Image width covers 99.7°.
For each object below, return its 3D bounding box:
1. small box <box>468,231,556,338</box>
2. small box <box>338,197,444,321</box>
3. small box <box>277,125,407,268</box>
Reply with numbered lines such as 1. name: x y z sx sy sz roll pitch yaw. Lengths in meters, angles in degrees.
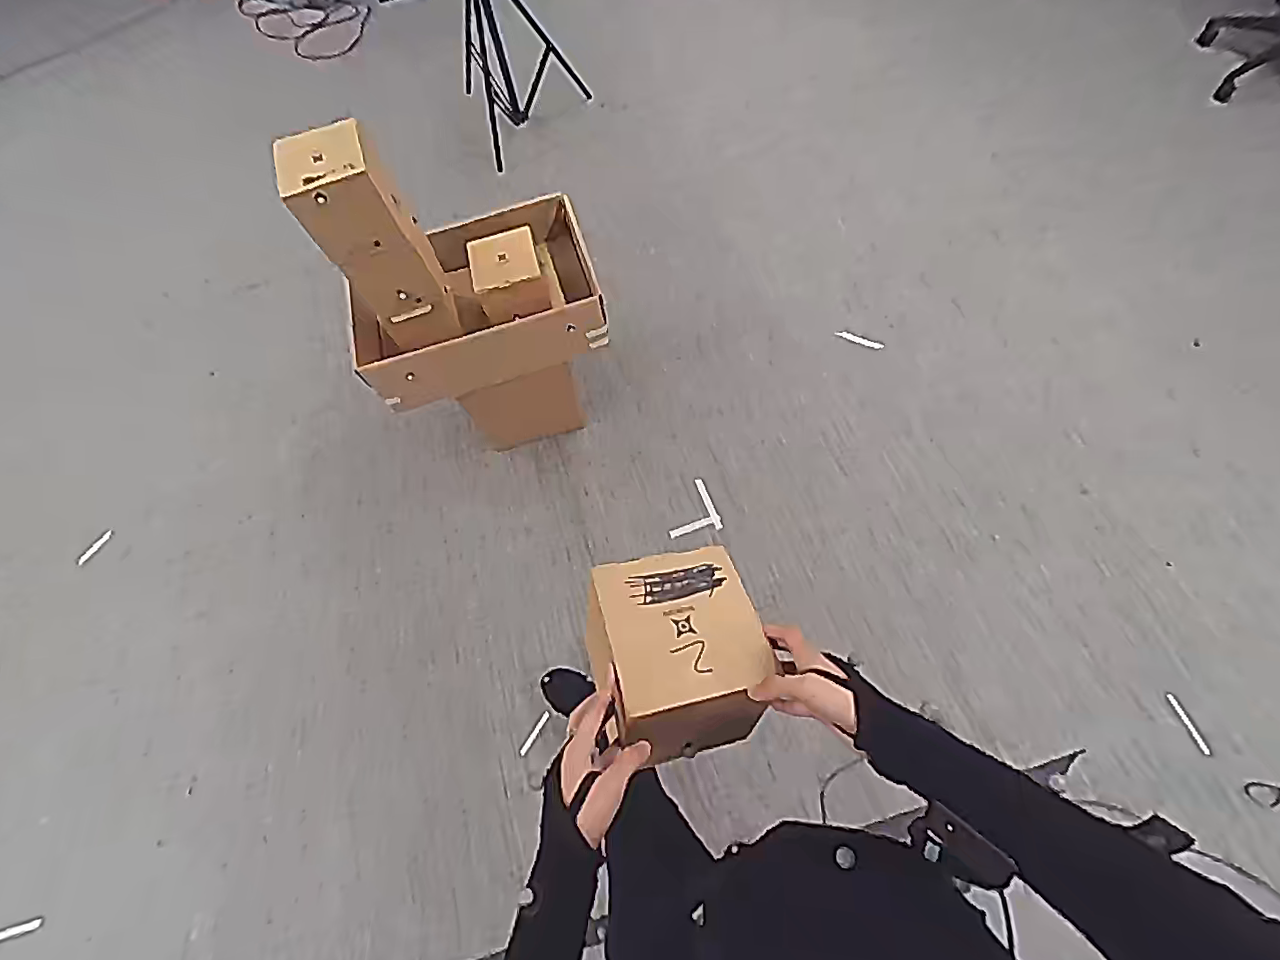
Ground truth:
1. small box: -0.328 -0.501 1.399 0.168 0.176 0.179 -16 66 0
2. small box: -0.574 -0.503 1.245 0.168 0.176 0.179 -20 66 -3
3. small box: -0.597 -0.568 1.095 0.168 0.176 0.179 -20 65 -2
